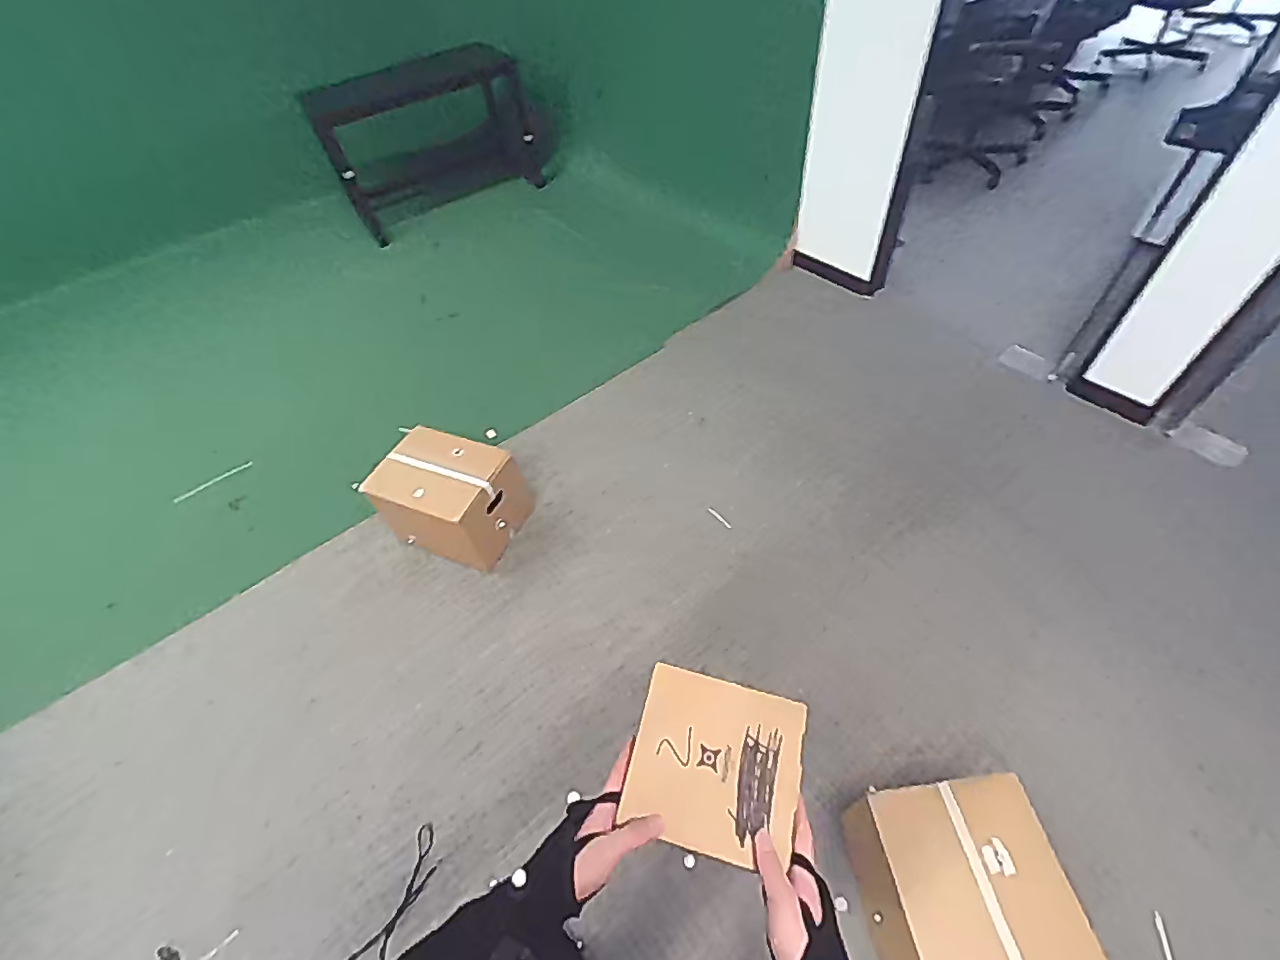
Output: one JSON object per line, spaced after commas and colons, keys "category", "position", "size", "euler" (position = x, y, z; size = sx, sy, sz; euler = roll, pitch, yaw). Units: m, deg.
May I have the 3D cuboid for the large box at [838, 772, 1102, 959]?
{"category": "large box", "position": [0.642, 0.865, 1.095], "size": [0.320, 0.320, 0.408], "euler": [-8, 50, 0]}
